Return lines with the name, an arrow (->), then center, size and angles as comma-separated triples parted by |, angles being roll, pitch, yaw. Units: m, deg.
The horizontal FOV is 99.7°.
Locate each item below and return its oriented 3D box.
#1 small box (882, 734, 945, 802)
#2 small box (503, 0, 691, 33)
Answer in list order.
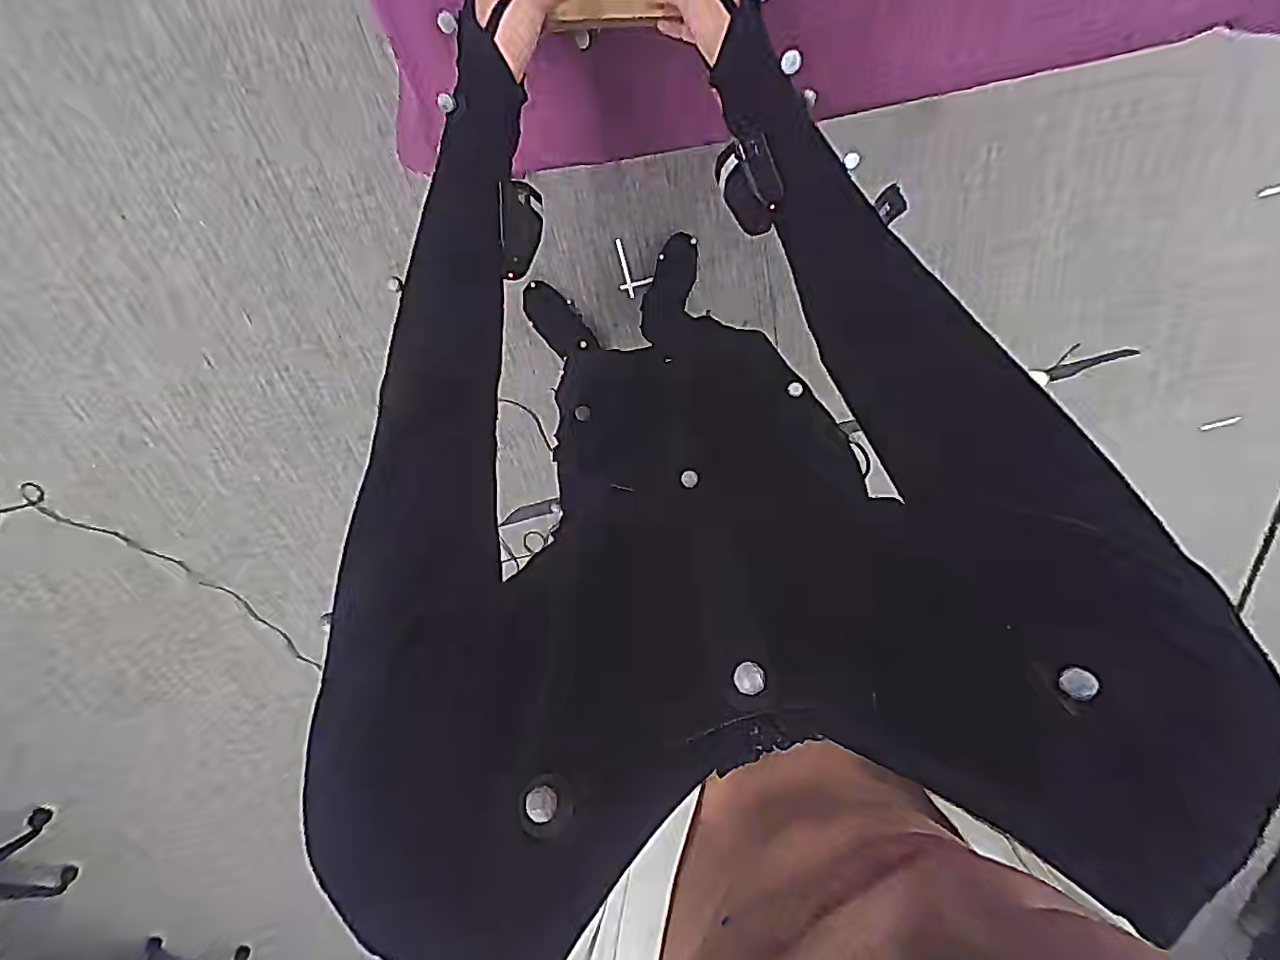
small box -> 1.165, 1.223, 2.305 | 0.179, 0.176, 0.168 | -20, 119, 0
small box -> -0.053, -0.526, 0.491 | 0.168, 0.176, 0.179 | -9, 129, -7
